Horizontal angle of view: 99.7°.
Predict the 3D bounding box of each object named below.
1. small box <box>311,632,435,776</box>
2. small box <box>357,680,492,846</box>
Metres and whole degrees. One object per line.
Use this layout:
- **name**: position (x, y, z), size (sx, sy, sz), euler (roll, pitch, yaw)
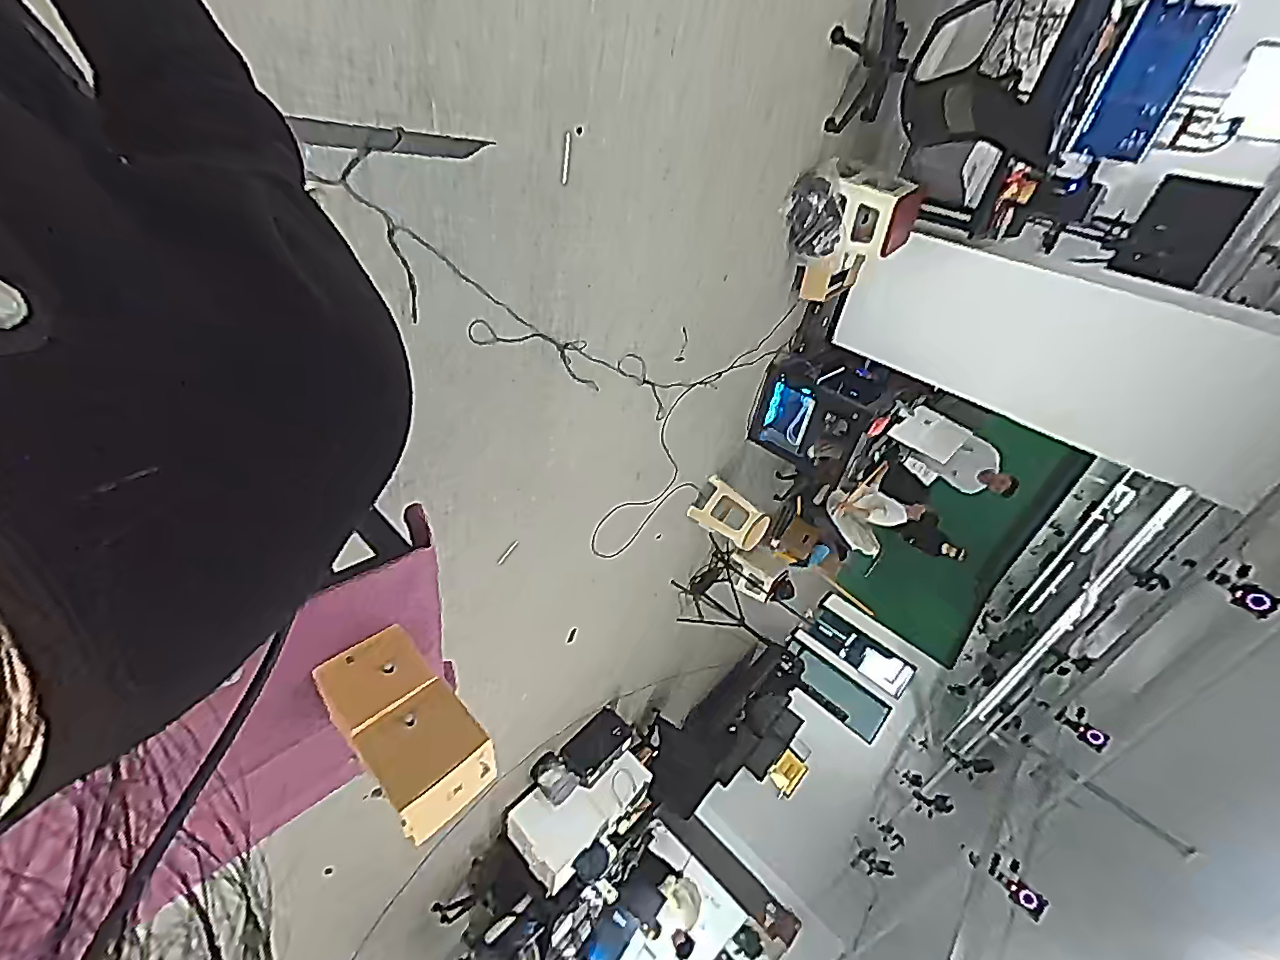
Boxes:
- **small box**: position (-0.520, 0.431, 1.072), size (0.168, 0.176, 0.179), euler (-29, 142, -39)
- **small box**: position (-0.399, 0.515, 1.000), size (0.179, 0.176, 0.168), euler (-30, 143, -37)
